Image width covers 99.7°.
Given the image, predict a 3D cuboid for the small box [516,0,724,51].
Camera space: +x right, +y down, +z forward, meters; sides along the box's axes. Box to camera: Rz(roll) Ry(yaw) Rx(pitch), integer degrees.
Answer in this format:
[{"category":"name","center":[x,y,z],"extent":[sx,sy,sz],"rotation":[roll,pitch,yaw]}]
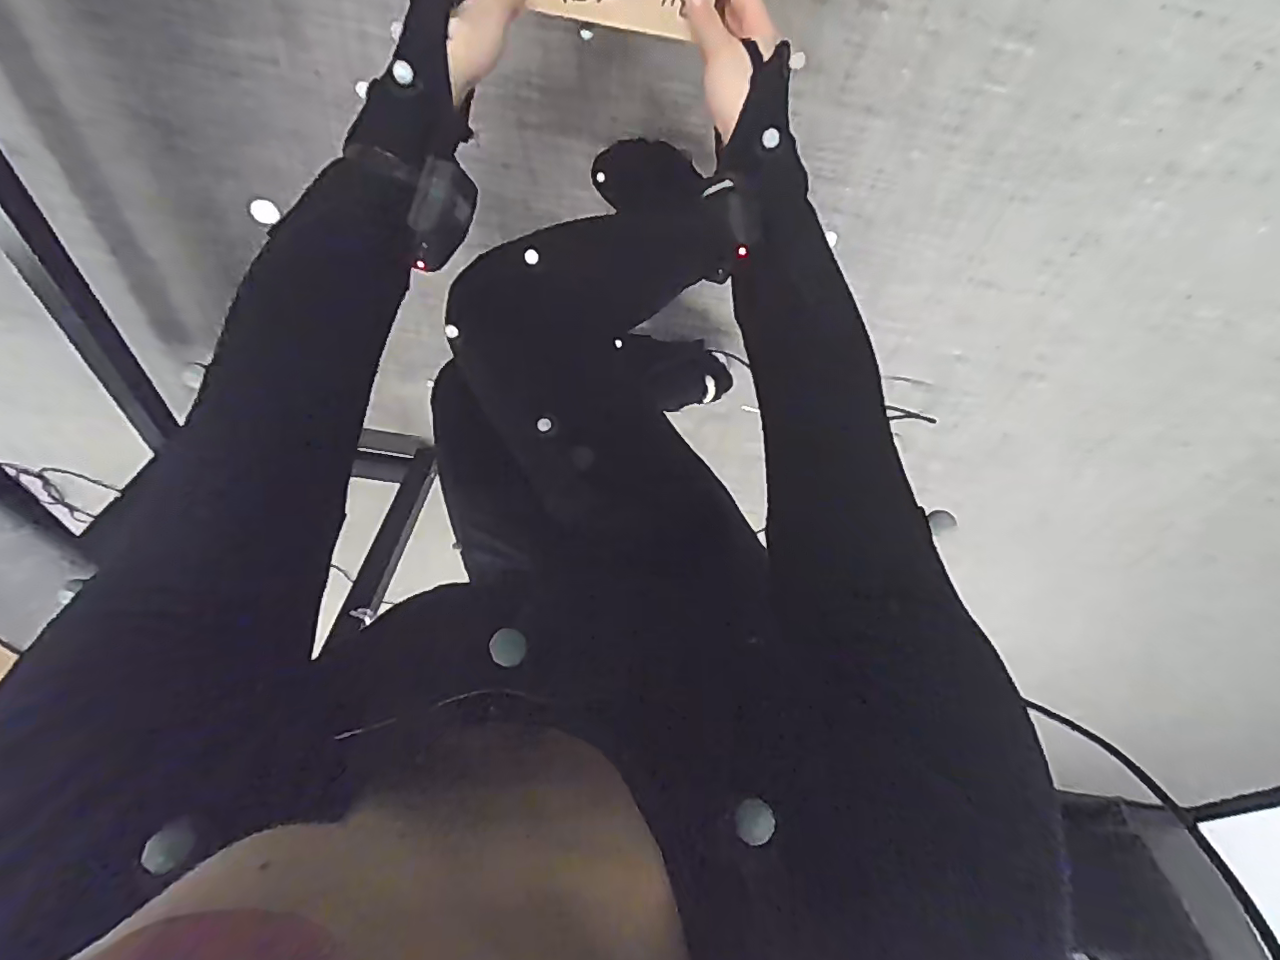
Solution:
[{"category":"small box","center":[-0.002,-0.474,0.421],"extent":[0.168,0.176,0.179],"rotation":[9,137,-4]}]
